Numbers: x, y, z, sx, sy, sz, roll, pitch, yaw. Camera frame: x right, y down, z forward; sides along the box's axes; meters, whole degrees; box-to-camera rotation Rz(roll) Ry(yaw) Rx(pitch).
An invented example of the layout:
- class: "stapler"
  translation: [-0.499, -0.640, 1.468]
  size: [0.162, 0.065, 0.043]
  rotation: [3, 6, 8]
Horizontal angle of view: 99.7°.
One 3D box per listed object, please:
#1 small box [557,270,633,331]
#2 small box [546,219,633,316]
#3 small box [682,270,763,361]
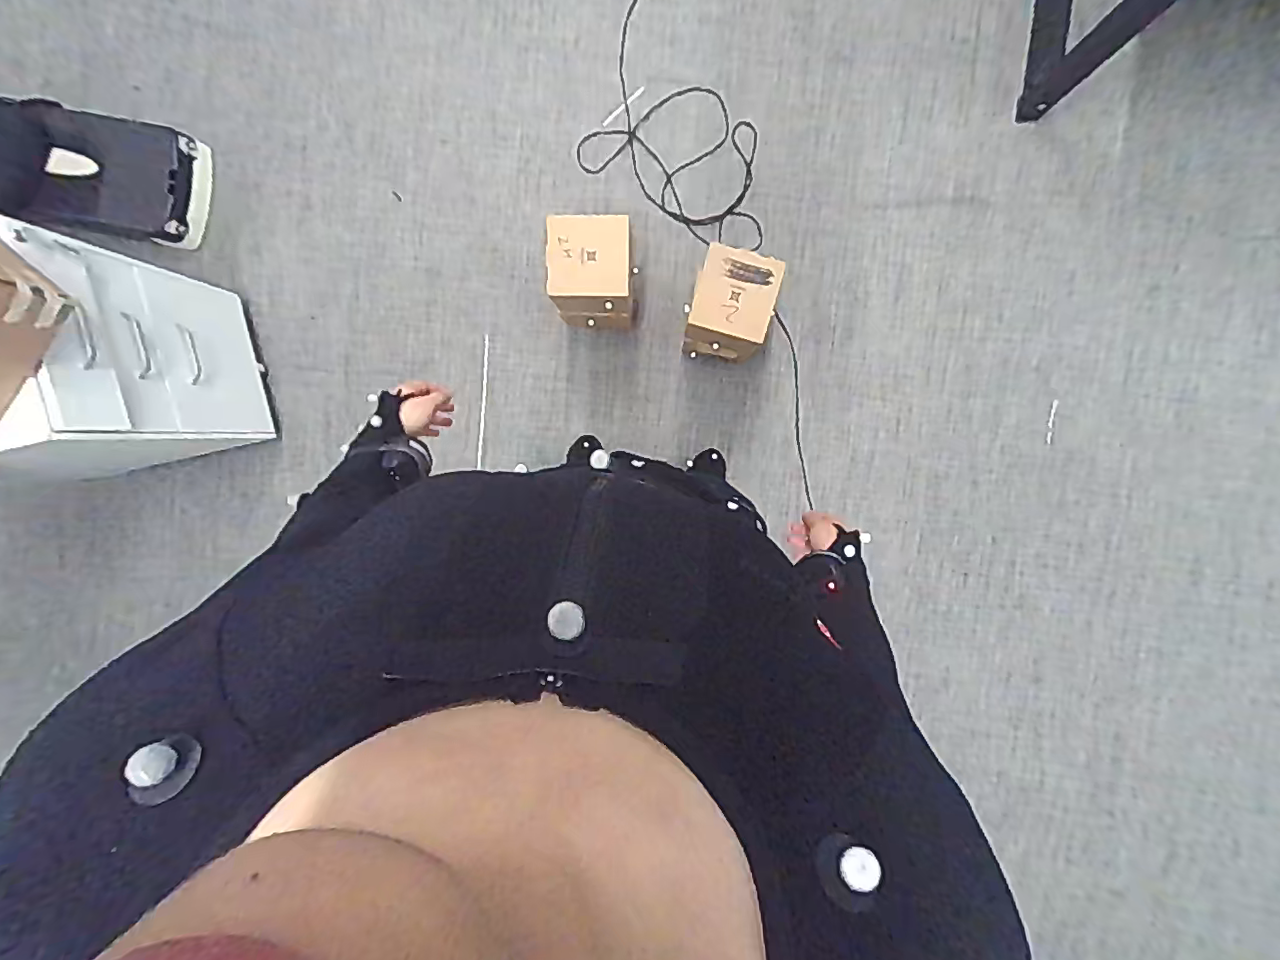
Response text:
- class: "small box"
  translation: [-0.110, -0.478, 1.376]
  size: [0.179, 0.176, 0.168]
  rotation: [2, 95, 2]
- class: "small box"
  translation: [-0.108, -0.469, 1.211]
  size: [0.179, 0.176, 0.168]
  rotation: [1, 95, 3]
- class: "small box"
  translation: [0.201, -0.407, 1.369]
  size: [0.168, 0.176, 0.179]
  rotation: [11, 94, 1]
